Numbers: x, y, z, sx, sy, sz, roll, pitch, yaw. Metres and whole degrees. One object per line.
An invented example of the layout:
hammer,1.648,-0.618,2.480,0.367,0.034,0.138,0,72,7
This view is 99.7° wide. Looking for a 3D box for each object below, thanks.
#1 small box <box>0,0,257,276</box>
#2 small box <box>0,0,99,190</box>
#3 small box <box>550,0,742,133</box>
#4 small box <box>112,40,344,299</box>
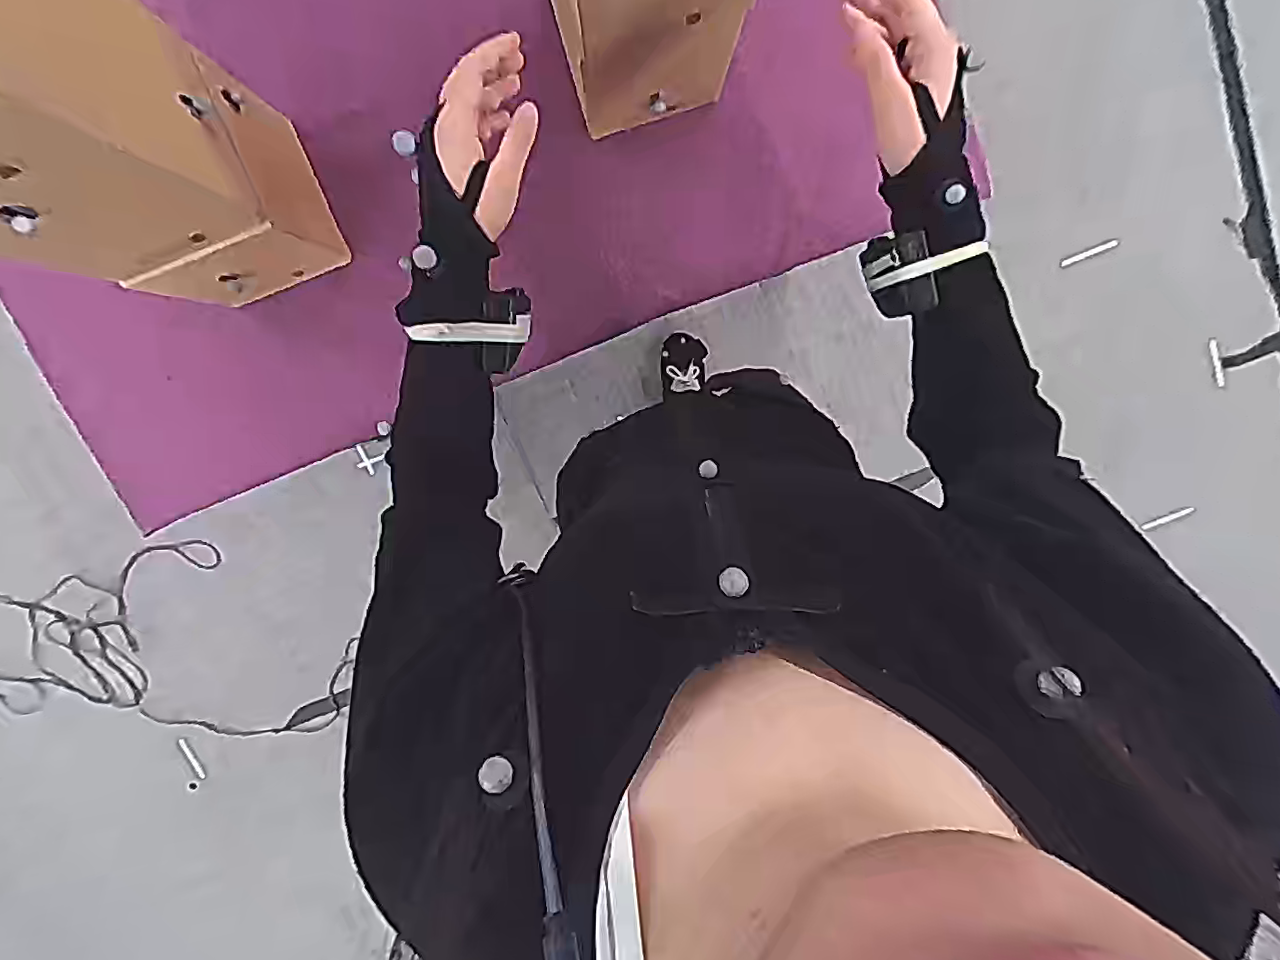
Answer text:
small box,-0.464,-0.289,0.429,0.168,0.176,0.179,-22,99,2
small box,-0.454,-0.260,0.267,0.168,0.176,0.179,-21,101,2
small box,-0.007,-0.513,0.572,0.168,0.176,0.179,-16,100,2
small box,-0.468,-0.312,0.592,0.168,0.176,0.179,-21,100,2
